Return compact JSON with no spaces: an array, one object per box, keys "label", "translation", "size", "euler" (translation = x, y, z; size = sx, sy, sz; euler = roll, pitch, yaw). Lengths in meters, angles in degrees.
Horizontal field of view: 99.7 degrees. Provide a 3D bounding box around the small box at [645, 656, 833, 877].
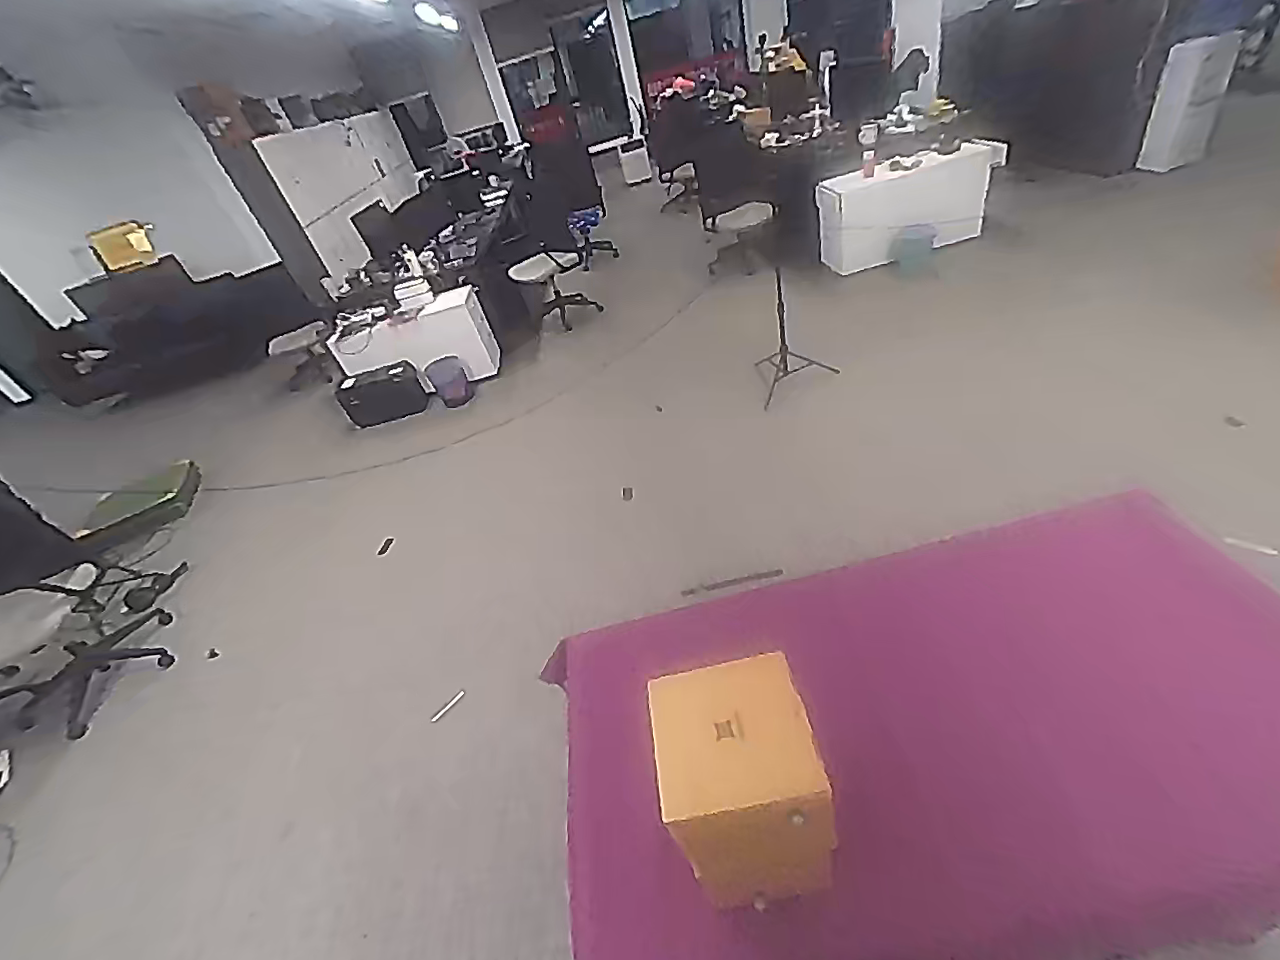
[{"label":"small box","translation":[0.116,0.344,0.647],"size":[0.179,0.176,0.168],"euler":[-15,38,5]}]
